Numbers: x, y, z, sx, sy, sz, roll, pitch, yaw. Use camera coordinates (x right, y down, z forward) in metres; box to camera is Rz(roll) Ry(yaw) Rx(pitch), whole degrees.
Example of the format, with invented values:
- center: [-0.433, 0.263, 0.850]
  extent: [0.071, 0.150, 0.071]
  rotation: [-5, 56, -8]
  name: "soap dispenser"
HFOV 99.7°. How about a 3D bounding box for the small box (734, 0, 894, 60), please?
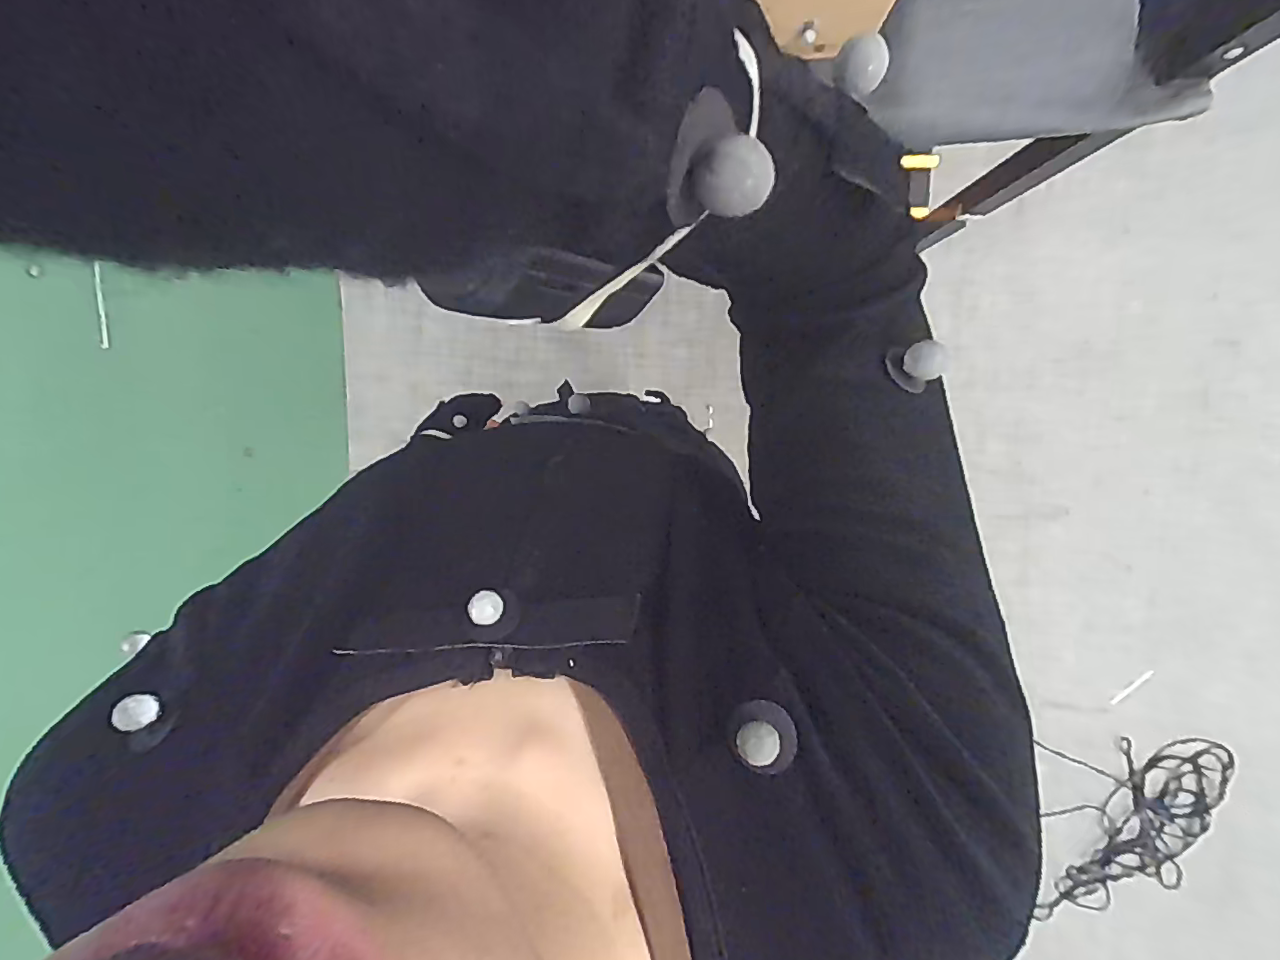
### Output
- center: [0.194, -0.601, 0.582]
  extent: [0.168, 0.176, 0.179]
  rotation: [-1, 96, 2]
  name: "small box"
